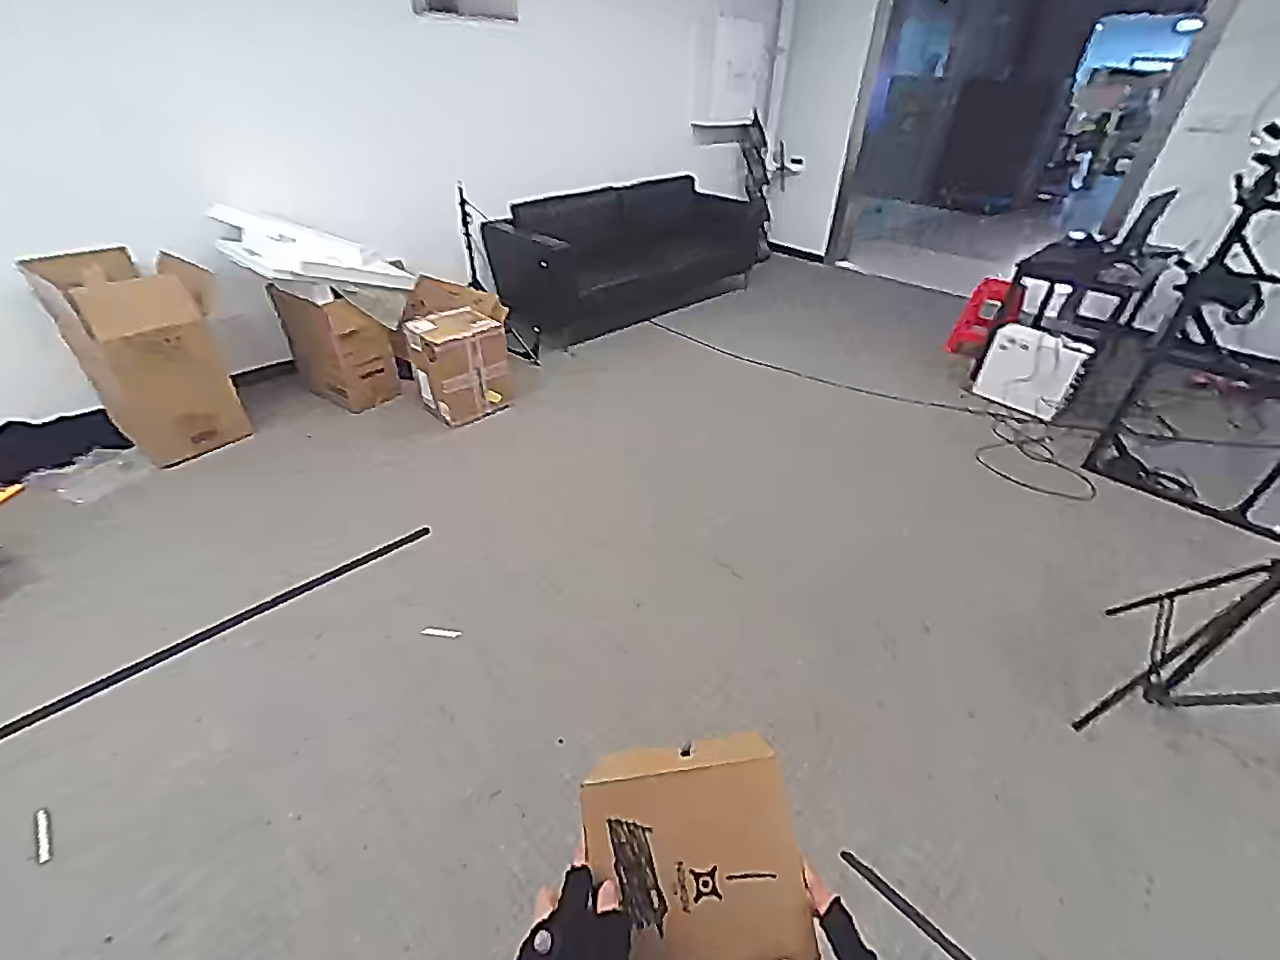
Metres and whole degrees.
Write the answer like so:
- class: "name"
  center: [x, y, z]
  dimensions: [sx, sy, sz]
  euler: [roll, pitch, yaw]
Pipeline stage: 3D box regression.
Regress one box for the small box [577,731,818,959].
- class: "small box"
  center: [0.048, 0.344, 0.510]
  dimensions: [0.179, 0.176, 0.168]
  euler: [-9, 71, 1]
